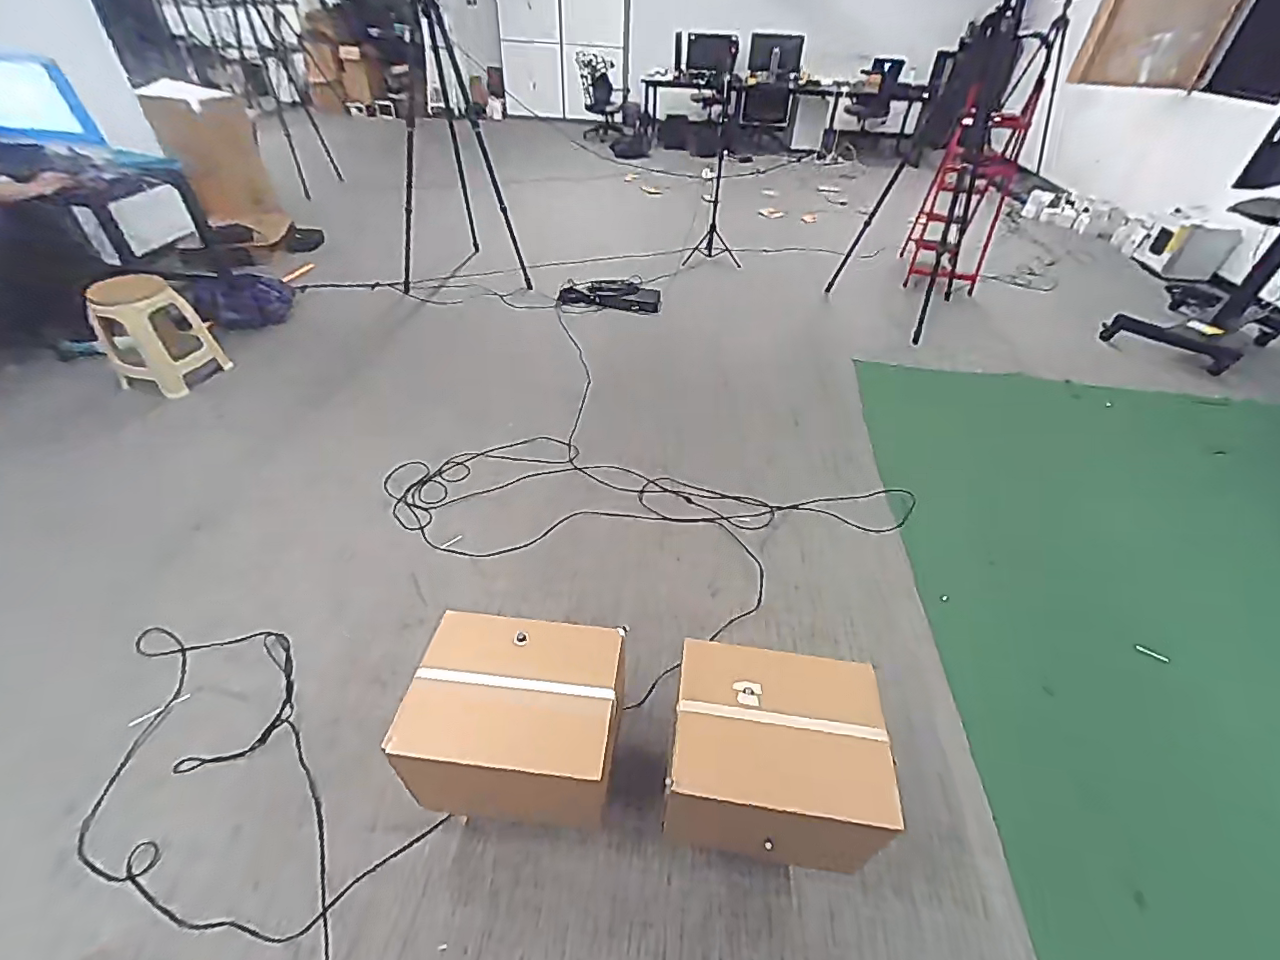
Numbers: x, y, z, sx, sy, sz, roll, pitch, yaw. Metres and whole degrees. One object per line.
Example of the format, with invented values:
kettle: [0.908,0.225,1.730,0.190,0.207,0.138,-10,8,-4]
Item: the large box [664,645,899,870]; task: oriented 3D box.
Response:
large box: [0.273,0.593,1.160,0.408,0.320,0.320,7,42,6]
